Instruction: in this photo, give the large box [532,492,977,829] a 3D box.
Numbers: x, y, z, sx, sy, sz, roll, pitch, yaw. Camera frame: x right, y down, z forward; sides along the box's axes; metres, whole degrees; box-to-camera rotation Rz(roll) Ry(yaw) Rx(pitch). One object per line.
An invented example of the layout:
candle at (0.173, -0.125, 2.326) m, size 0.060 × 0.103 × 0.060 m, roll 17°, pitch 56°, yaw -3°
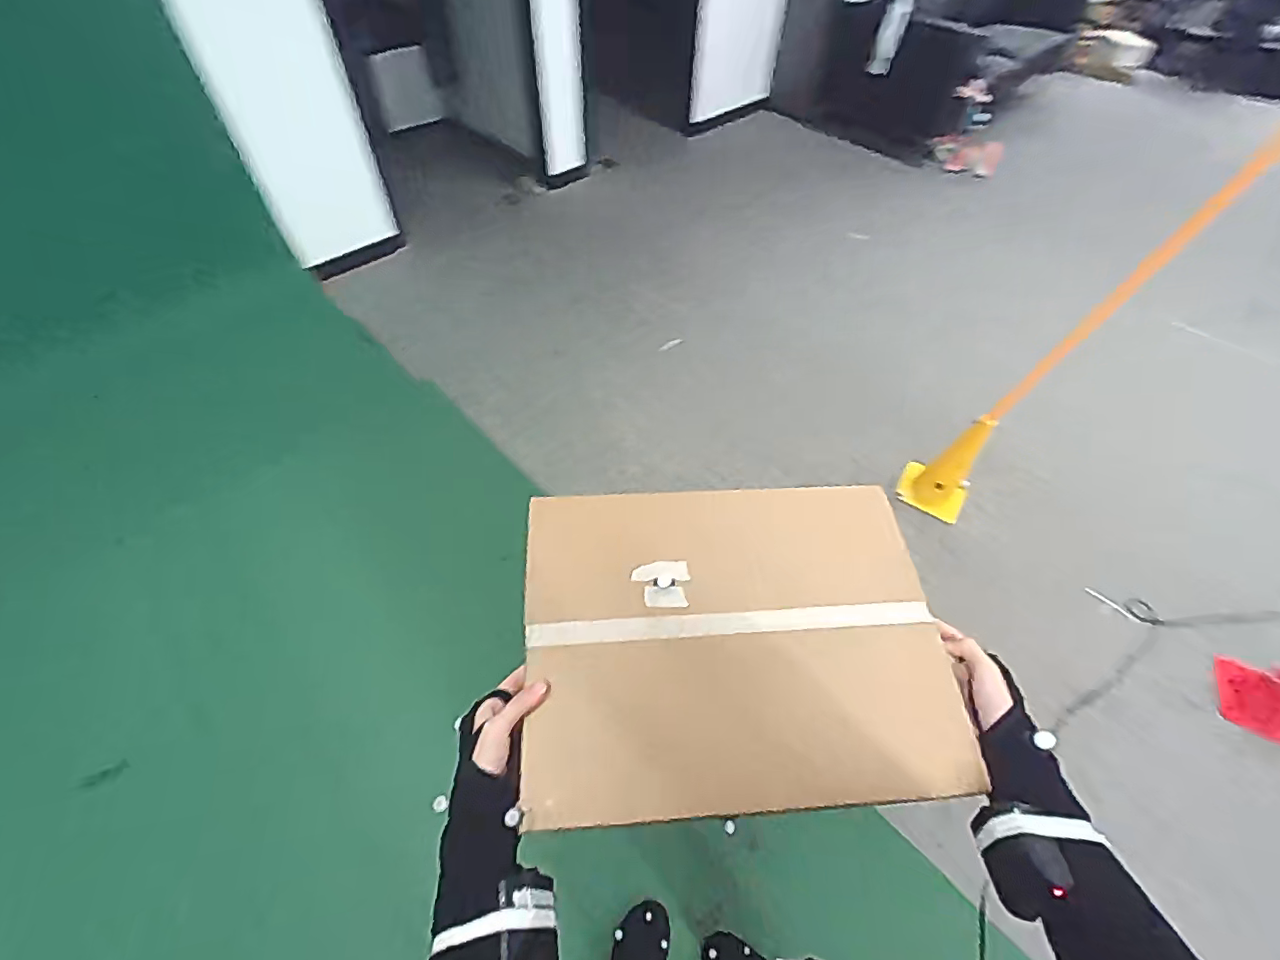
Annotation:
large box at (0.093, 0.232, 0.673) m, size 0.408 × 0.320 × 0.320 m, roll -3°, pitch 57°, yaw -3°
